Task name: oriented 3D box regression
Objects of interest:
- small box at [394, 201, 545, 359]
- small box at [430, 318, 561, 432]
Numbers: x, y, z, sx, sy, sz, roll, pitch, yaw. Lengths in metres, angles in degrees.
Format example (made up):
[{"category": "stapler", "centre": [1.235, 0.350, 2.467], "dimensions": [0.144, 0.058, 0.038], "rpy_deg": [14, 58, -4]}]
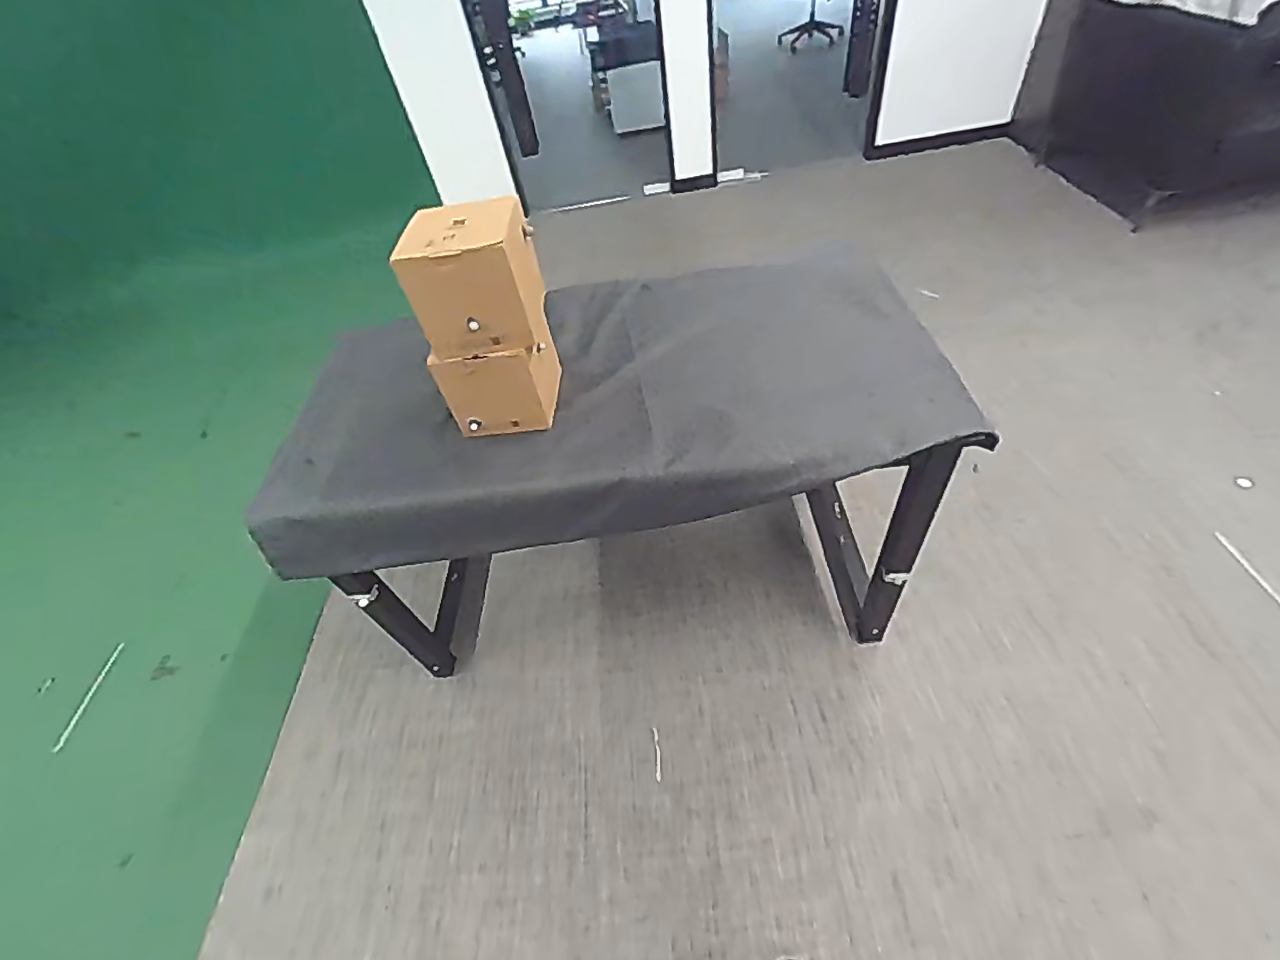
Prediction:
[{"category": "small box", "centre": [-0.256, -0.317, 0.863], "dimensions": [0.168, 0.176, 0.179], "rpy_deg": [-7, 47, 5]}, {"category": "small box", "centre": [-0.248, -0.200, 0.980], "dimensions": [0.168, 0.176, 0.179], "rpy_deg": [-4, 47, 6]}]
